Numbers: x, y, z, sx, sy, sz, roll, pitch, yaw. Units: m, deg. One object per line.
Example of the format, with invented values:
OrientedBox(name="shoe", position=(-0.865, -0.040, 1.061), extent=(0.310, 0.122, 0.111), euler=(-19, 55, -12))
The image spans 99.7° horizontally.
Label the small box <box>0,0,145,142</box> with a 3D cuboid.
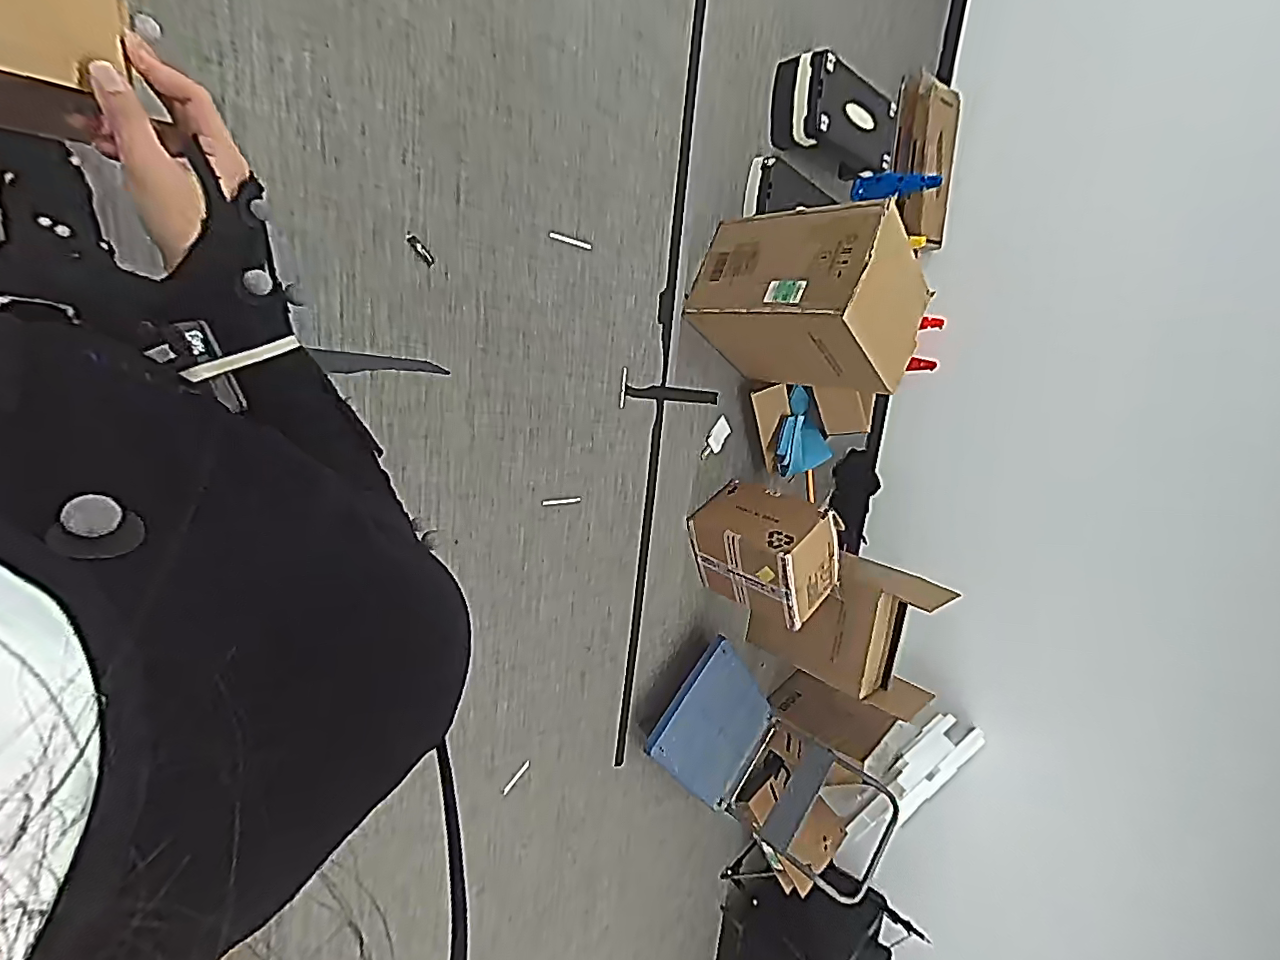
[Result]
OrientedBox(name="small box", position=(-0.398, -0.308, 0.293), extent=(0.179, 0.176, 0.168), euler=(-7, 110, -40))
